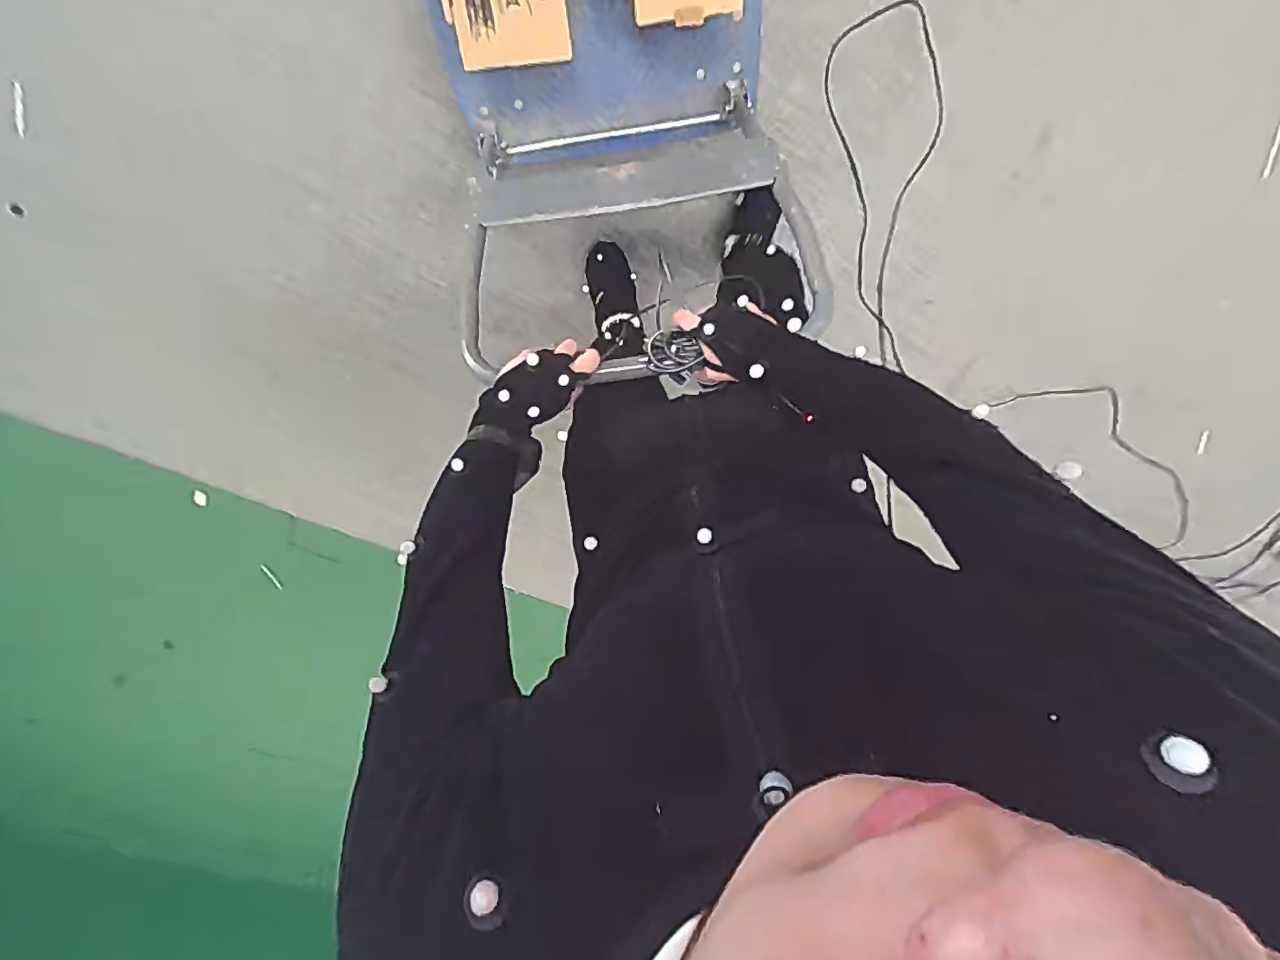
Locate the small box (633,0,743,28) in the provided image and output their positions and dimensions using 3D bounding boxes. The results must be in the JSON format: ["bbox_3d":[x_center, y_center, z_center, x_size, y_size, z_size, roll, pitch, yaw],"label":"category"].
[{"bbox_3d":[0.064,-0.823,0.819,0.168,0.176,0.179,-6,141,2],"label":"small box"}]
